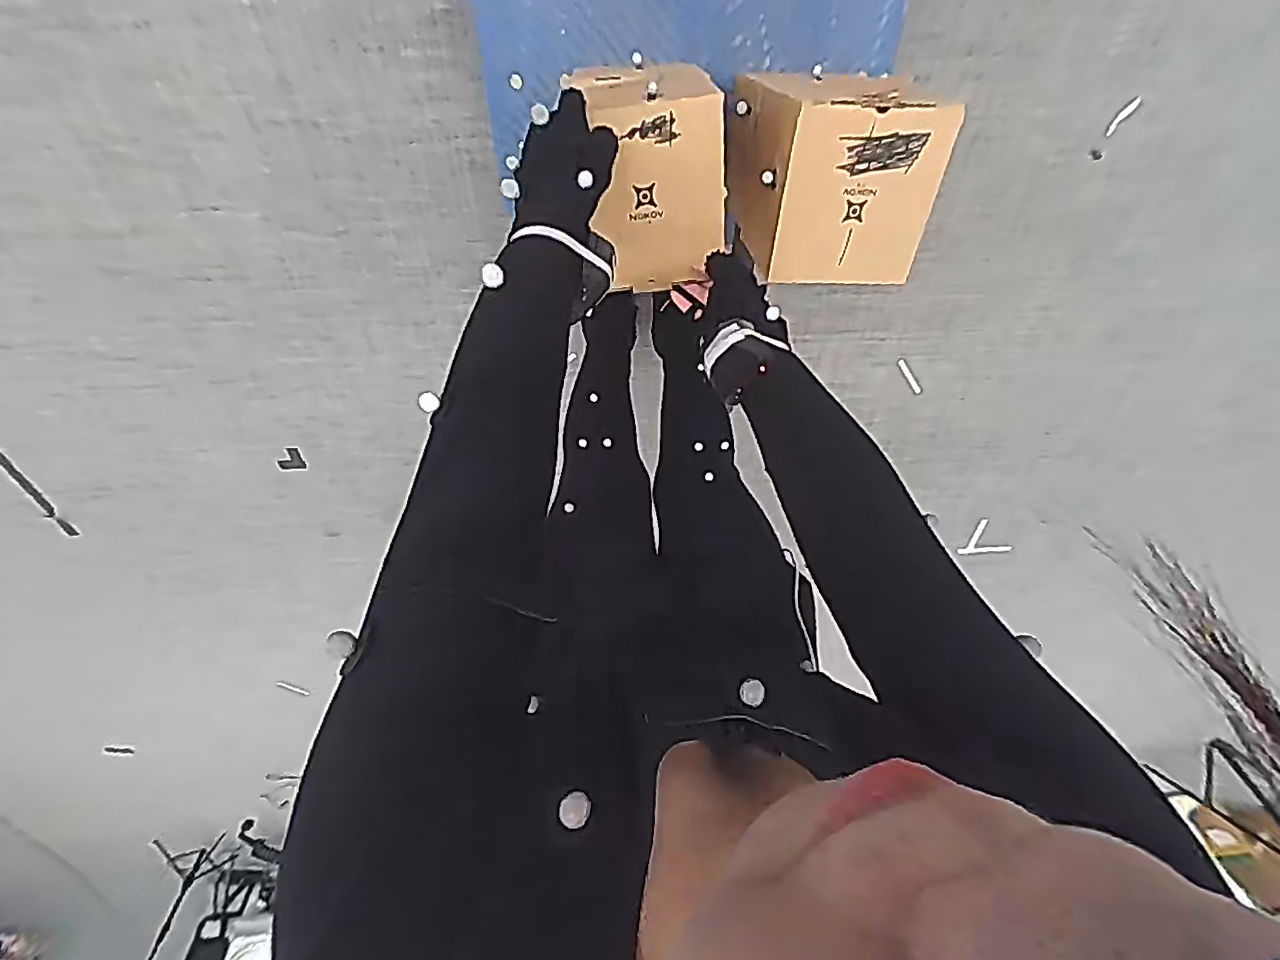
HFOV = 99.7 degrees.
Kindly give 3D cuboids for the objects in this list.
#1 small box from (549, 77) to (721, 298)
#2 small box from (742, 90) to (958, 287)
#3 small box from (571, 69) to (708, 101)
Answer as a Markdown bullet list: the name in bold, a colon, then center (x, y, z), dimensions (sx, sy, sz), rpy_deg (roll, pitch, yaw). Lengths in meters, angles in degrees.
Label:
- **small box**: center (0.001, -0.334, 0.618), dimensions (0.168, 0.176, 0.179), rpy_deg (-6, 133, 3)
- **small box**: center (0.224, -0.346, 0.637), dimensions (0.168, 0.176, 0.179), rpy_deg (0, 131, -3)
- **small box**: center (-0.002, -0.453, 0.749), dimensions (0.168, 0.176, 0.179), rpy_deg (-3, 130, -1)
